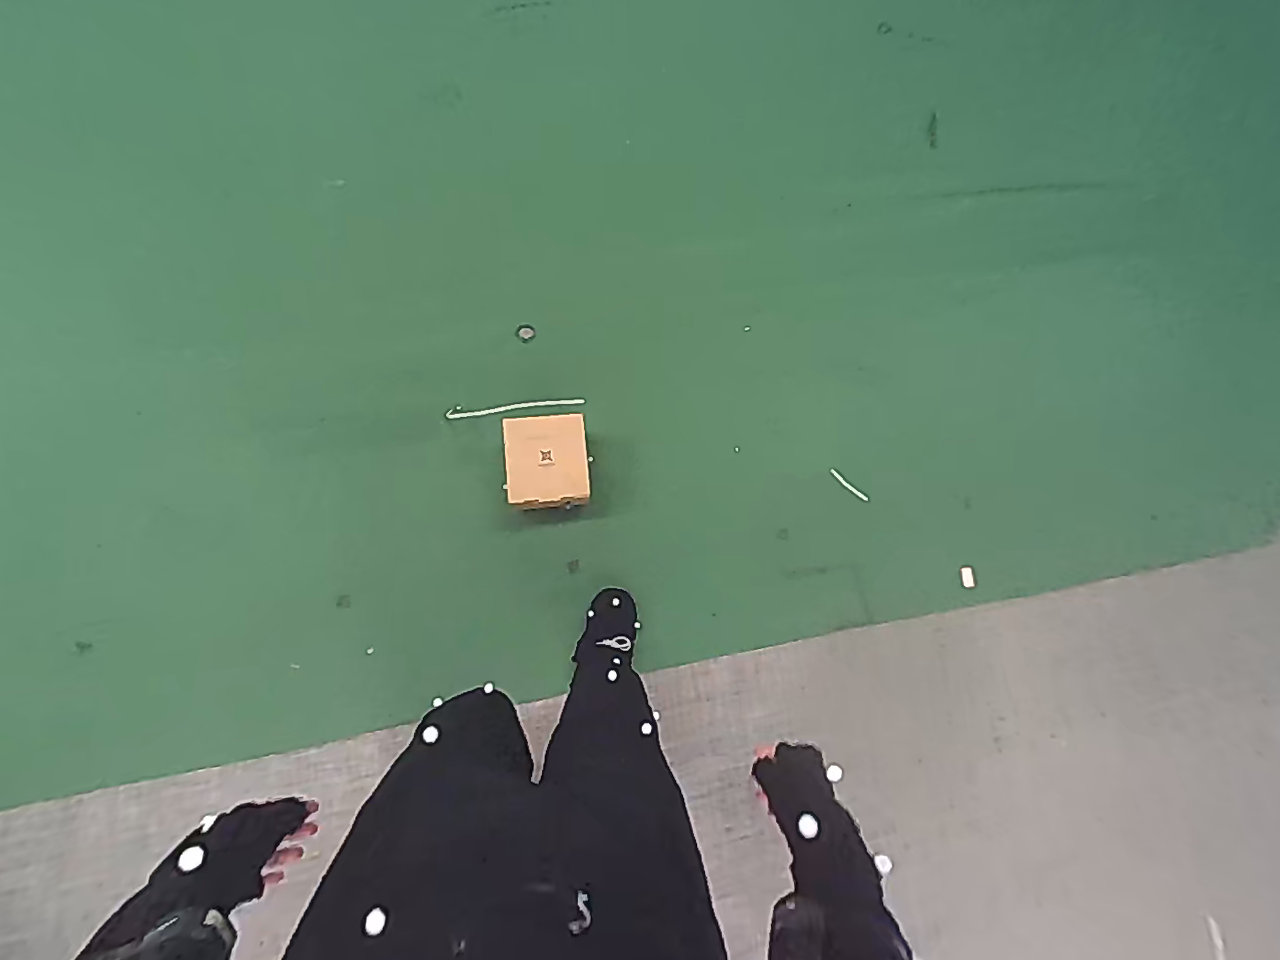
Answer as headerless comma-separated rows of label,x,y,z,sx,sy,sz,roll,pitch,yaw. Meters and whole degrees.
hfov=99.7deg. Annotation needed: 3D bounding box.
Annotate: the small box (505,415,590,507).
small box,-0.195,-0.035,1.156,0.168,0.176,0.179,-3,83,-10
